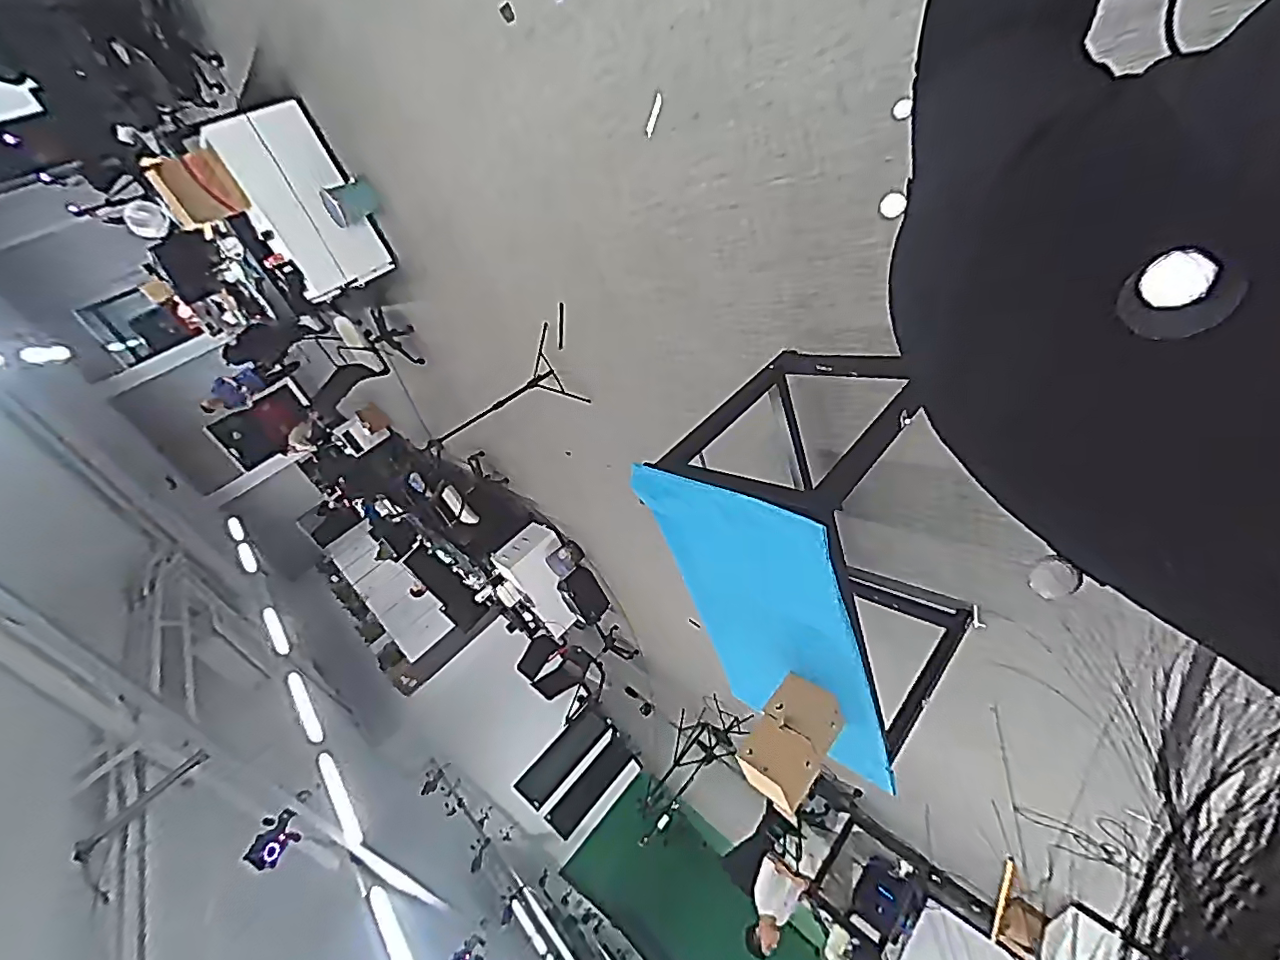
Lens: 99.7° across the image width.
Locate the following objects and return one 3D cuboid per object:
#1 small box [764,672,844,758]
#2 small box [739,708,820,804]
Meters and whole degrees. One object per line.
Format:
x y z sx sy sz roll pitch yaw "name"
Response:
0.535 0.758 1.758 0.179 0.176 0.168 16 141 45 "small box"
0.429 0.857 1.675 0.168 0.176 0.179 17 140 47 "small box"
